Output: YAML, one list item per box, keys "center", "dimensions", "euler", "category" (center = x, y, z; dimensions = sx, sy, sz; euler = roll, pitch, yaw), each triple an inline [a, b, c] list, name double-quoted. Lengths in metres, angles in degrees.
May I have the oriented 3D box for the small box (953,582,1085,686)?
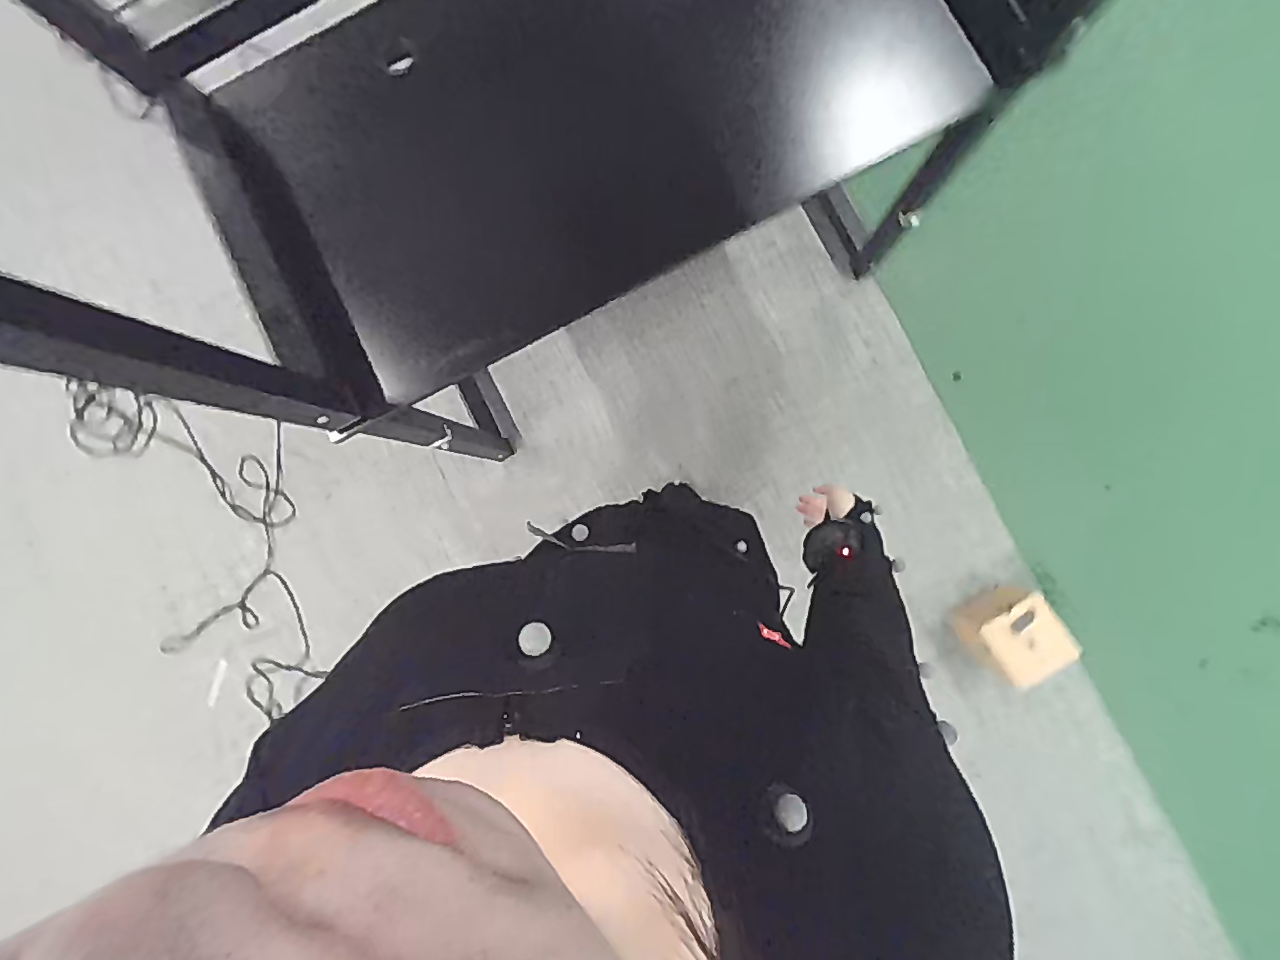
- center: [0.923, 0.369, 1.339]
  dimensions: [0.168, 0.176, 0.179]
  euler: [-34, 87, 4]
  category: "small box"
